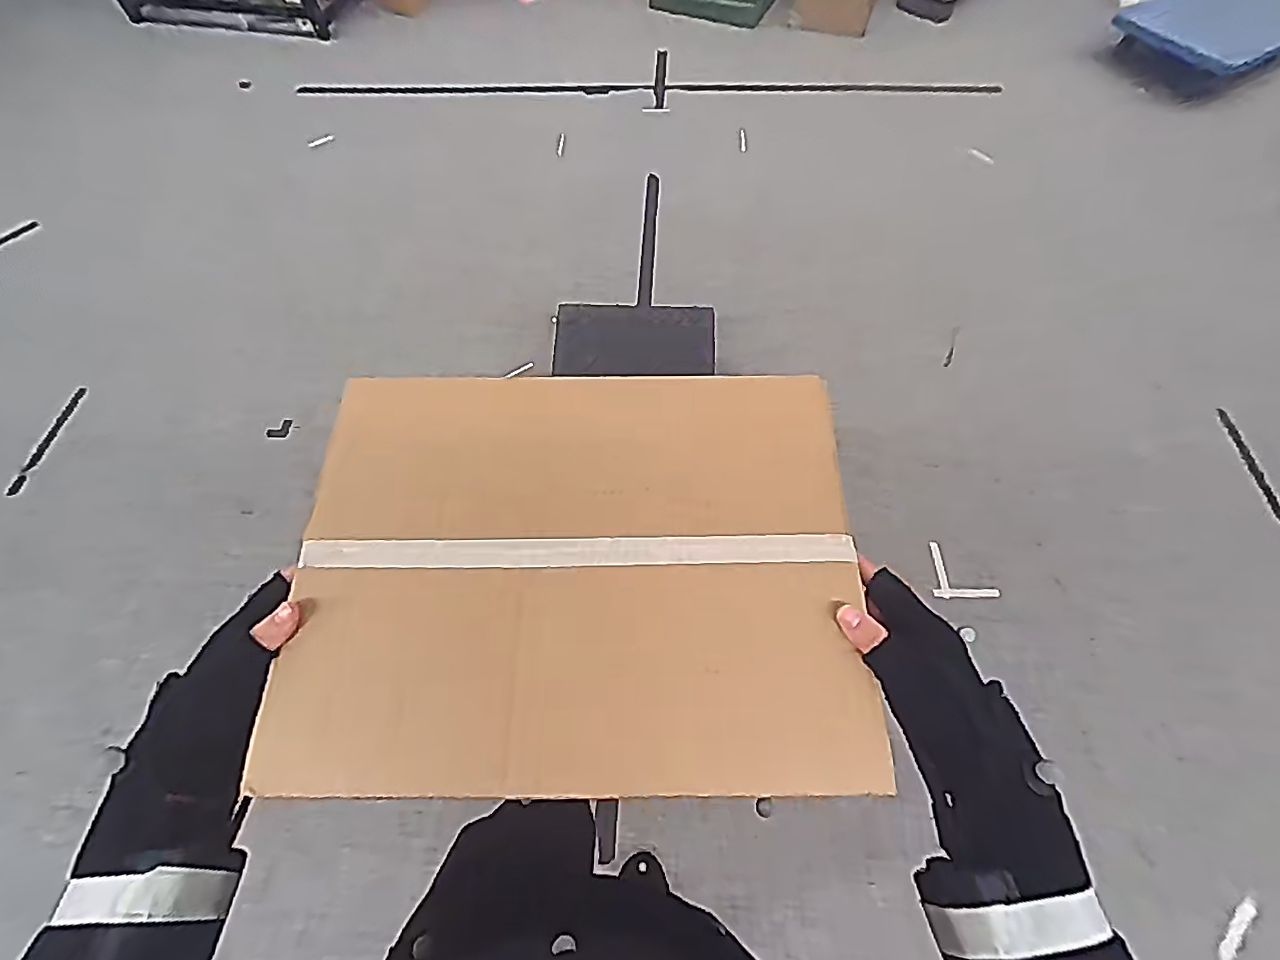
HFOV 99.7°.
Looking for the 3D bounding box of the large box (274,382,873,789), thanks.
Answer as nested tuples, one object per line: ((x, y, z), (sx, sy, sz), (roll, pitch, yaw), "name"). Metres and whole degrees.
((-0.043, 0.118, 0.550), (0.408, 0.320, 0.320), (-1, 65, 0), "large box")
